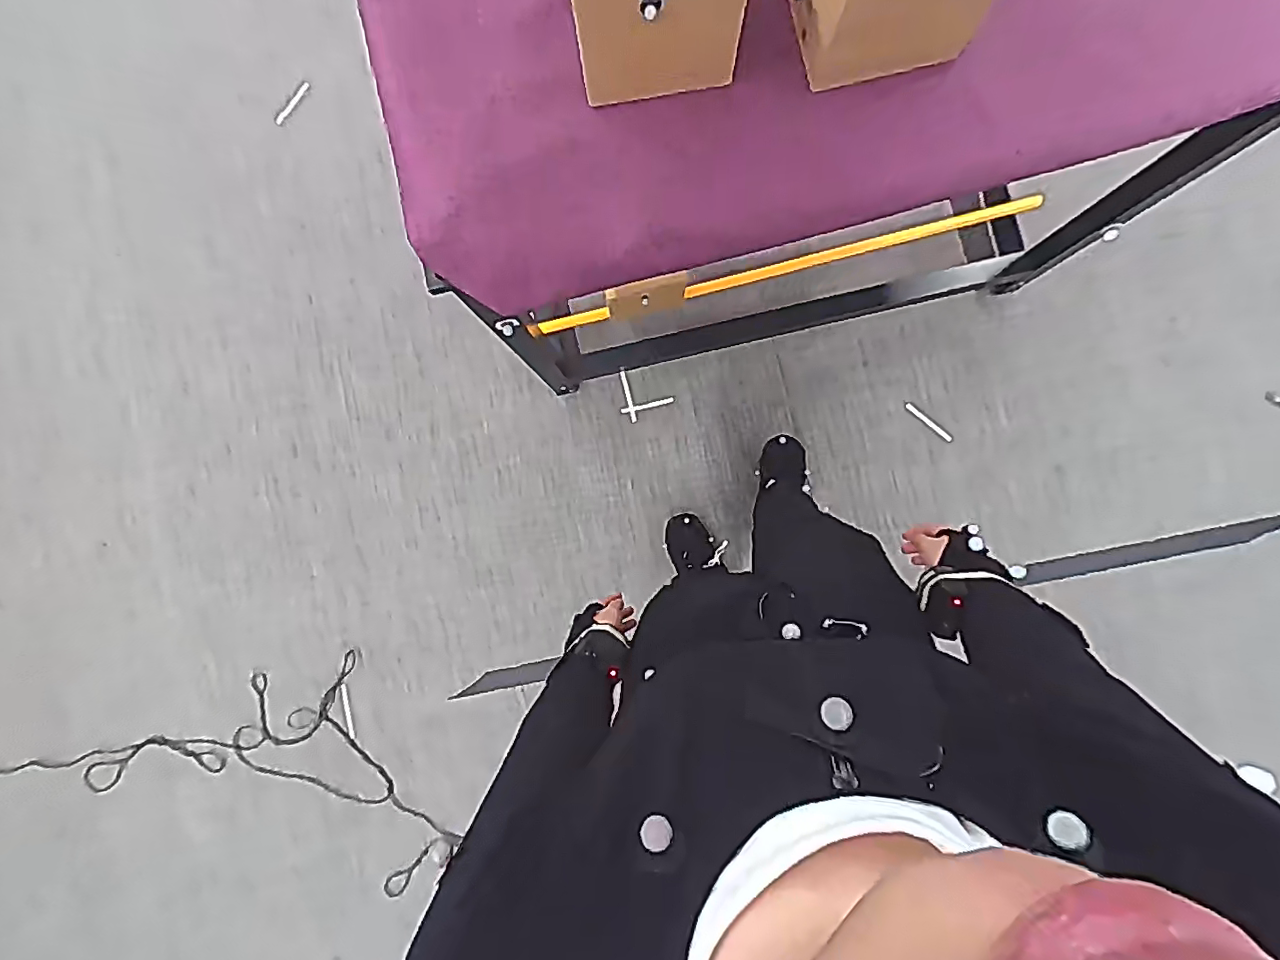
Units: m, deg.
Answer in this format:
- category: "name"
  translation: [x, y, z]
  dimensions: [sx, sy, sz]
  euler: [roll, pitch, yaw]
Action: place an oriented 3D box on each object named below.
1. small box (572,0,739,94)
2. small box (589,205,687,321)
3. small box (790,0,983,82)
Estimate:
- category: "small box"
  translation: [0.010, -0.551, 0.574]
  dimensions: [0.179, 0.176, 0.168]
  euler: [-8, 87, 0]
- category: "small box"
  translation: [-0.004, -0.469, 1.194]
  dimensions: [0.179, 0.176, 0.168]
  euler: [-14, 89, 2]
- category: "small box"
  translation: [0.269, -0.569, 0.566]
  dimensions: [0.179, 0.176, 0.168]
  euler: [-12, 86, 2]
